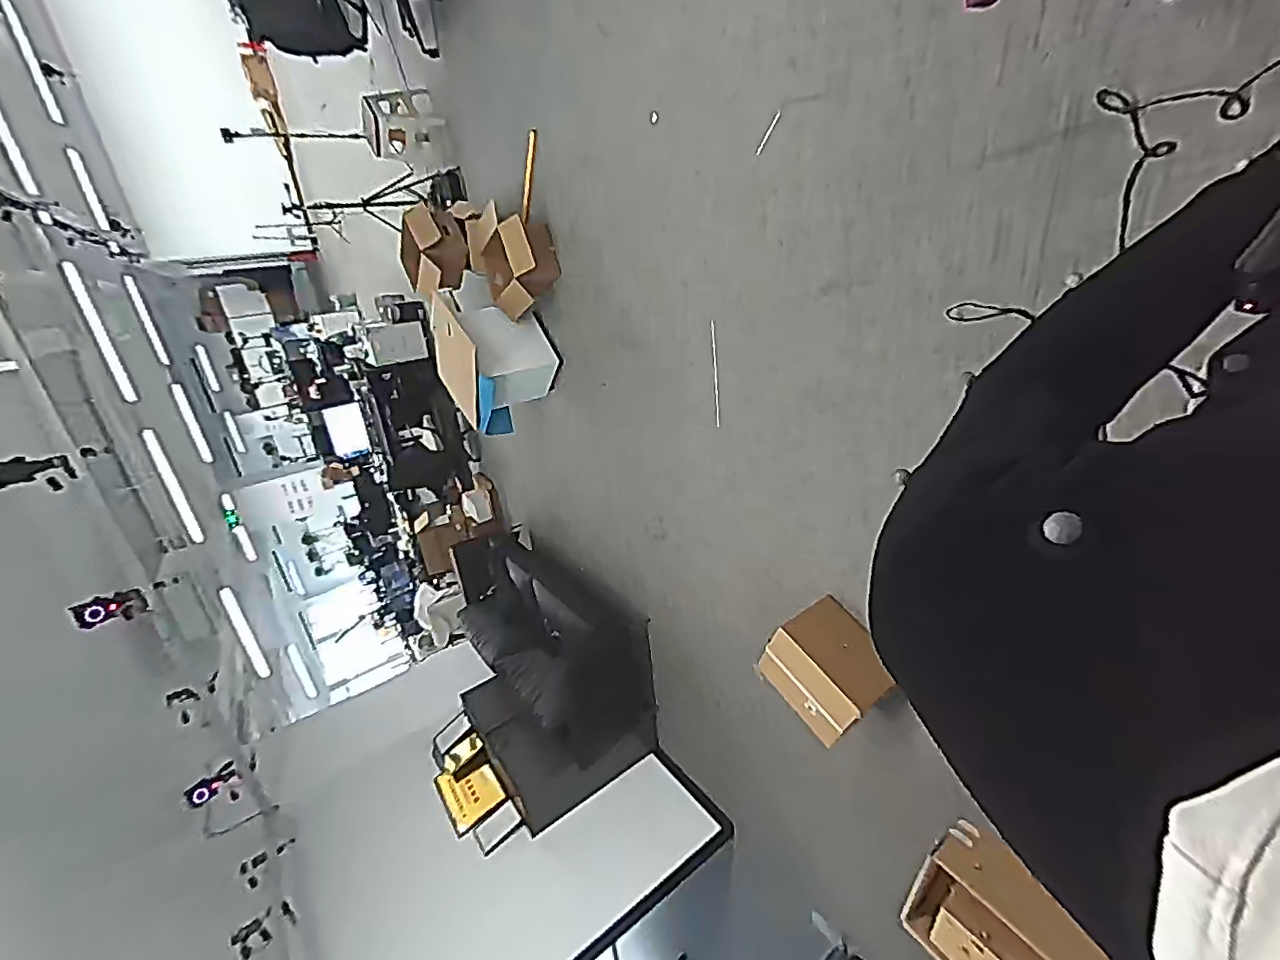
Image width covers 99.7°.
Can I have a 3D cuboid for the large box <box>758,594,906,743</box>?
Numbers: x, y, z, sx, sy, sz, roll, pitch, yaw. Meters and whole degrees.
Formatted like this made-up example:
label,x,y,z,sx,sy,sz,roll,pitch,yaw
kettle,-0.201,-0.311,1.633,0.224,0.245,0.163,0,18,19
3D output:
label,x,y,z,sx,sy,sz,roll,pitch,yaw
large box,0.758,0.745,2.175,0.408,0.320,0.320,45,143,32
